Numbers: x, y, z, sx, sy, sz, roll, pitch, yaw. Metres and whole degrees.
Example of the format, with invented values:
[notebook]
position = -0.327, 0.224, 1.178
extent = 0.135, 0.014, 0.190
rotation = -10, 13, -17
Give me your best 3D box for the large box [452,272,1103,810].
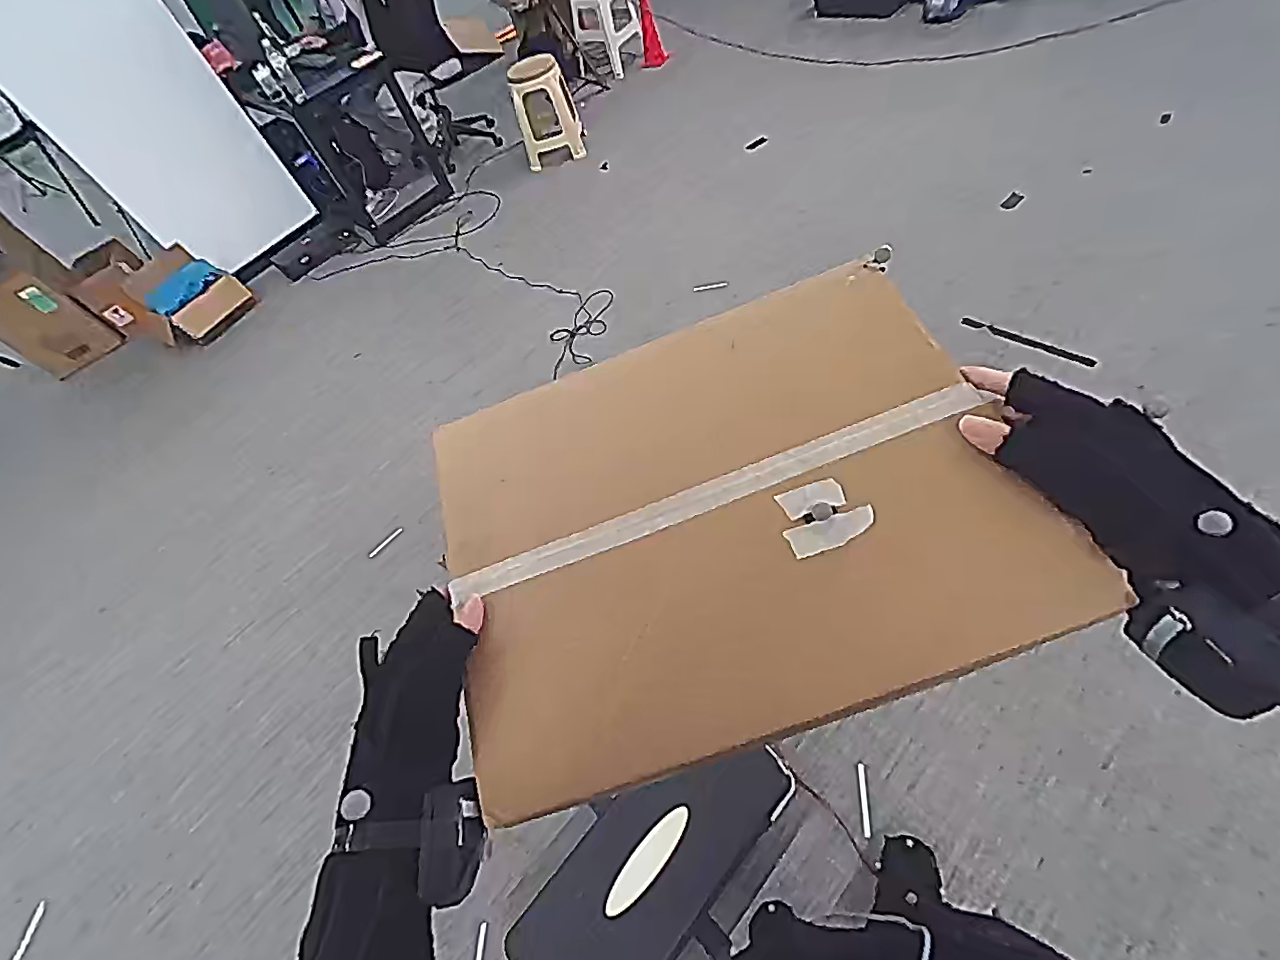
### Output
[large box]
position = 0.087, 0.080, 0.538
extent = 0.408, 0.320, 0.320
rotation = -21, 62, 3
